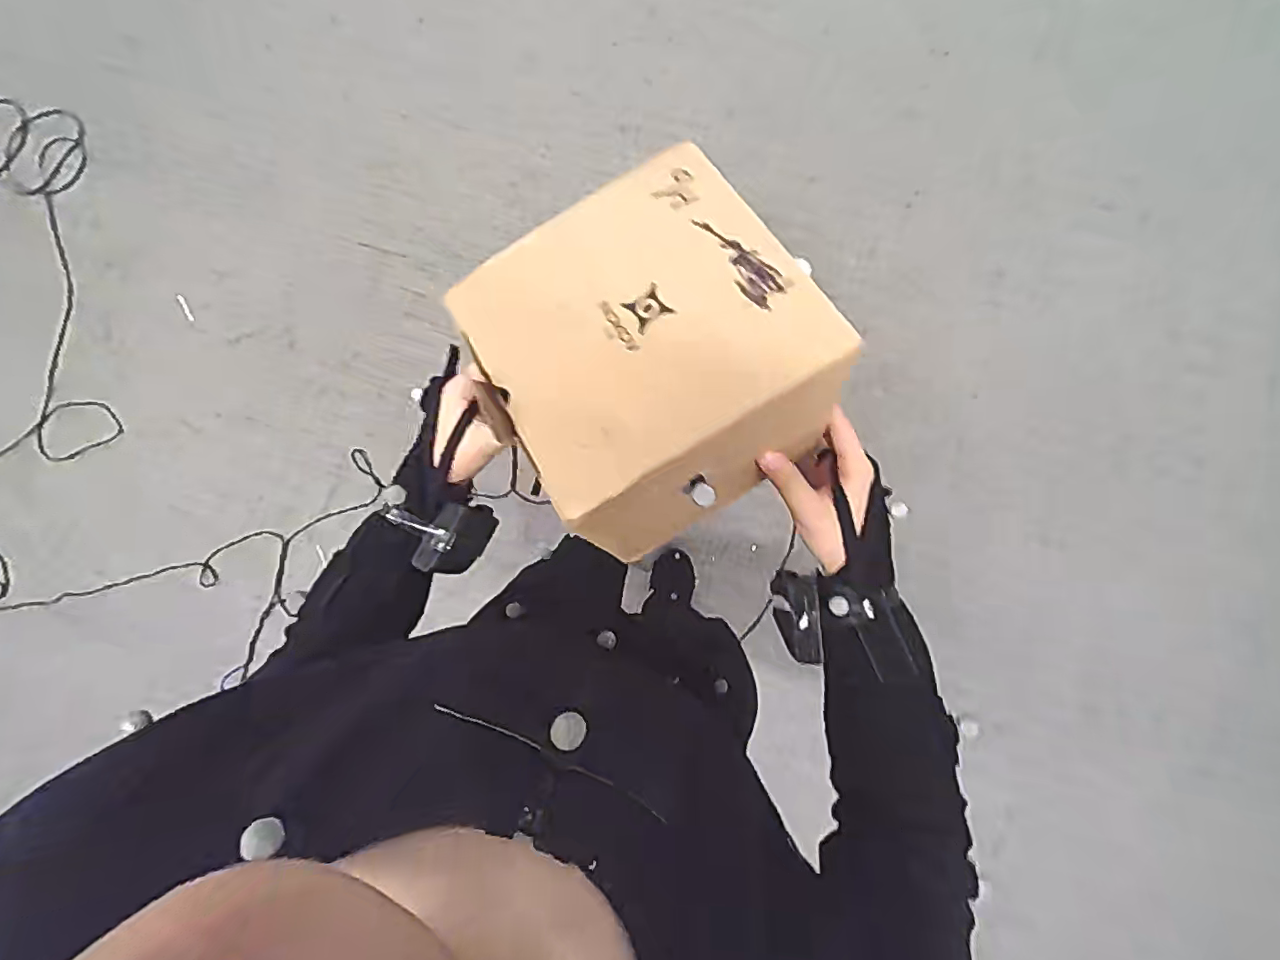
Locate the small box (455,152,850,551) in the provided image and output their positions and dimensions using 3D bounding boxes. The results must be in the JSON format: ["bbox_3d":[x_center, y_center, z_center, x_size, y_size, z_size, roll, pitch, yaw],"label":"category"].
[{"bbox_3d":[0.013,-0.067,0.377,0.179,0.176,0.168,-32,72,1],"label":"small box"}]
